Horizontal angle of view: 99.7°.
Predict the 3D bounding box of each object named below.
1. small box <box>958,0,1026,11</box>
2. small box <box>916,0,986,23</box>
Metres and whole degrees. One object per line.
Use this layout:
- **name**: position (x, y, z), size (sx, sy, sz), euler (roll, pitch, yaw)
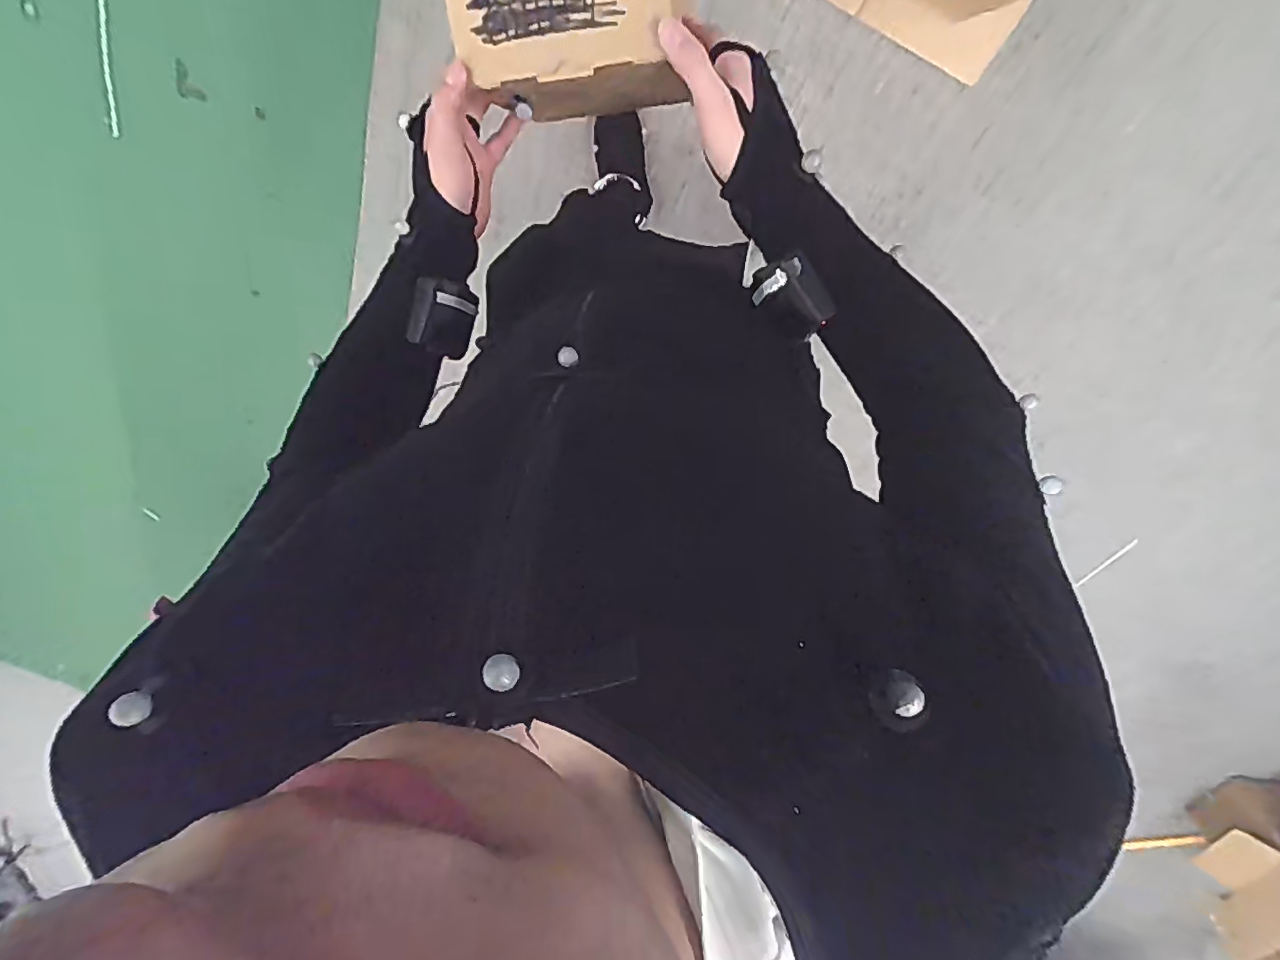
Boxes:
- **small box**: position (0.569, -0.884, 0.853), size (0.179, 0.176, 0.168), euler (25, 124, -6)
- **small box**: position (0.592, -0.977, 0.984), size (0.179, 0.176, 0.168), euler (25, 123, -8)
